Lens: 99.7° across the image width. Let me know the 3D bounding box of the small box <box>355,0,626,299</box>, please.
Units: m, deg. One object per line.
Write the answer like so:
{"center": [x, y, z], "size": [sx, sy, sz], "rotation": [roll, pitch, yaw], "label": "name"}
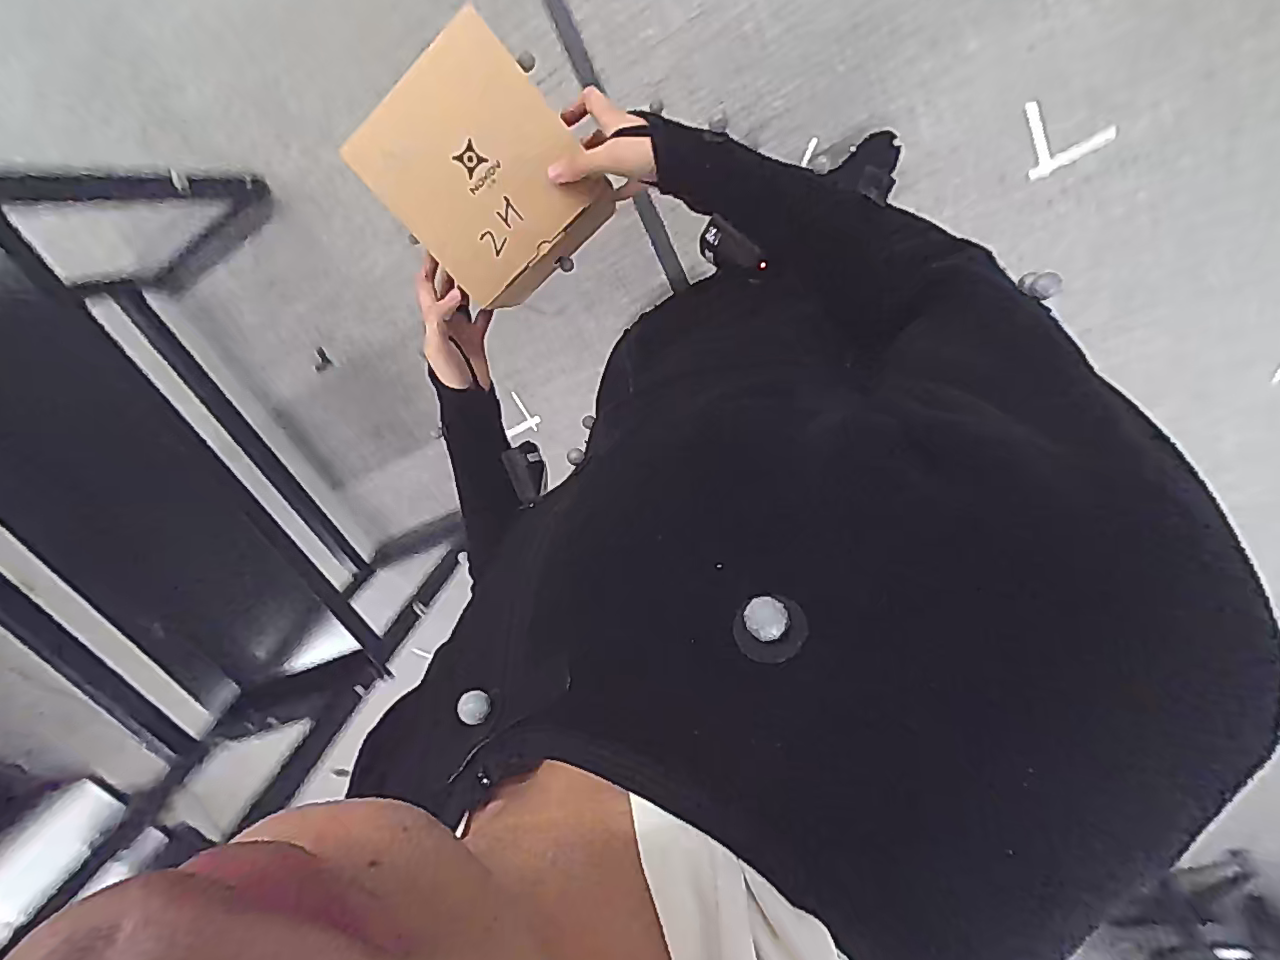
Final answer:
{"center": [-0.131, -0.303, 0.542], "size": [0.168, 0.176, 0.179], "rotation": [-39, 107, 12], "label": "small box"}
